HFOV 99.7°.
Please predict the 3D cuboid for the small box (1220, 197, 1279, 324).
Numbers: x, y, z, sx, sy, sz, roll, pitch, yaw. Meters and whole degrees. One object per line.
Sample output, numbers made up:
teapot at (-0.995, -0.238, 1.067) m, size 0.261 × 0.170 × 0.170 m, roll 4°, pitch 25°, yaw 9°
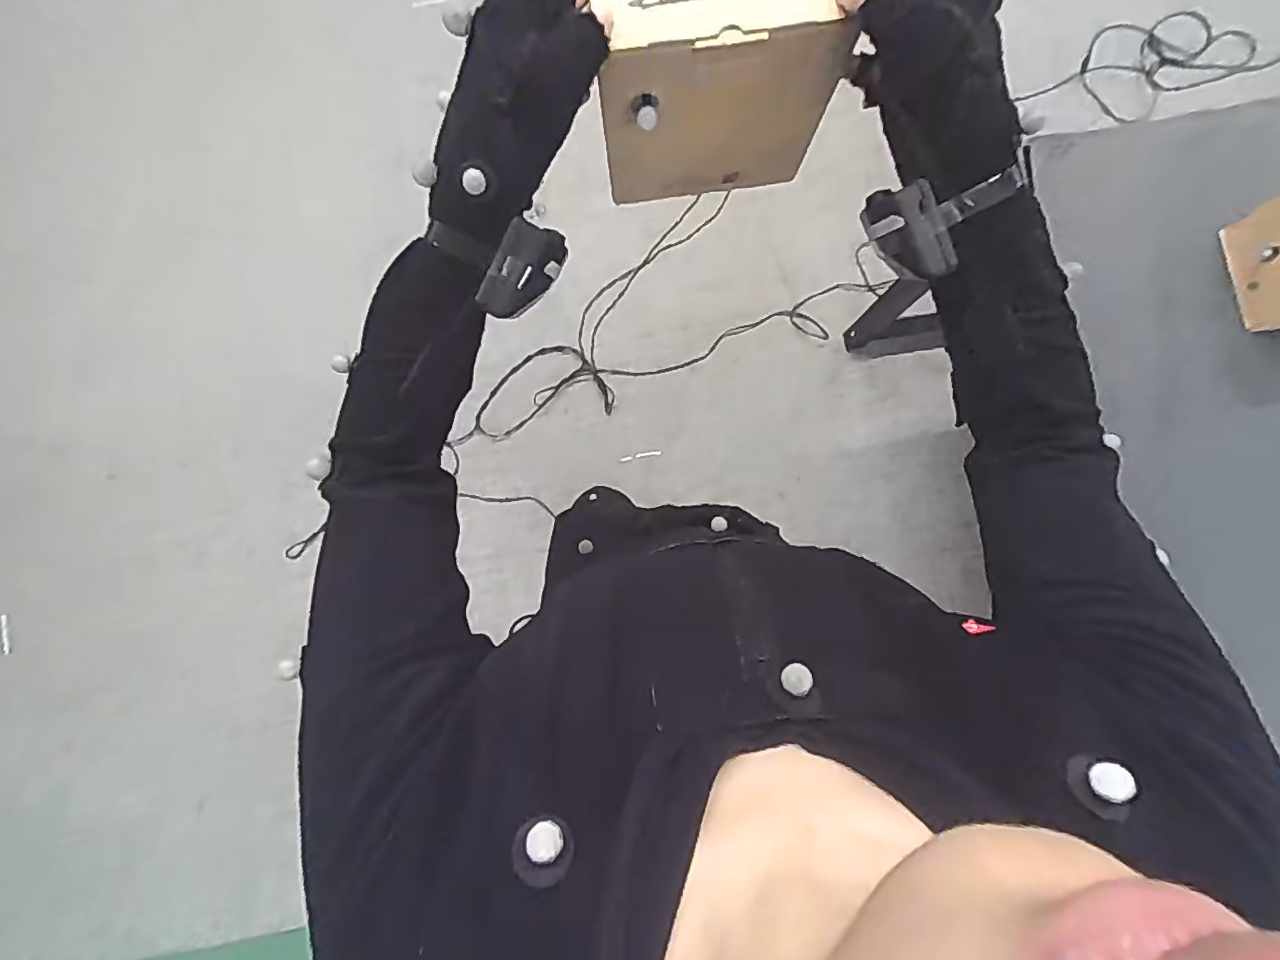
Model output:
small box at (0.982, -0.331, 0.744) m, size 0.179 × 0.176 × 0.168 m, roll -8°, pitch 84°, yaw -1°
